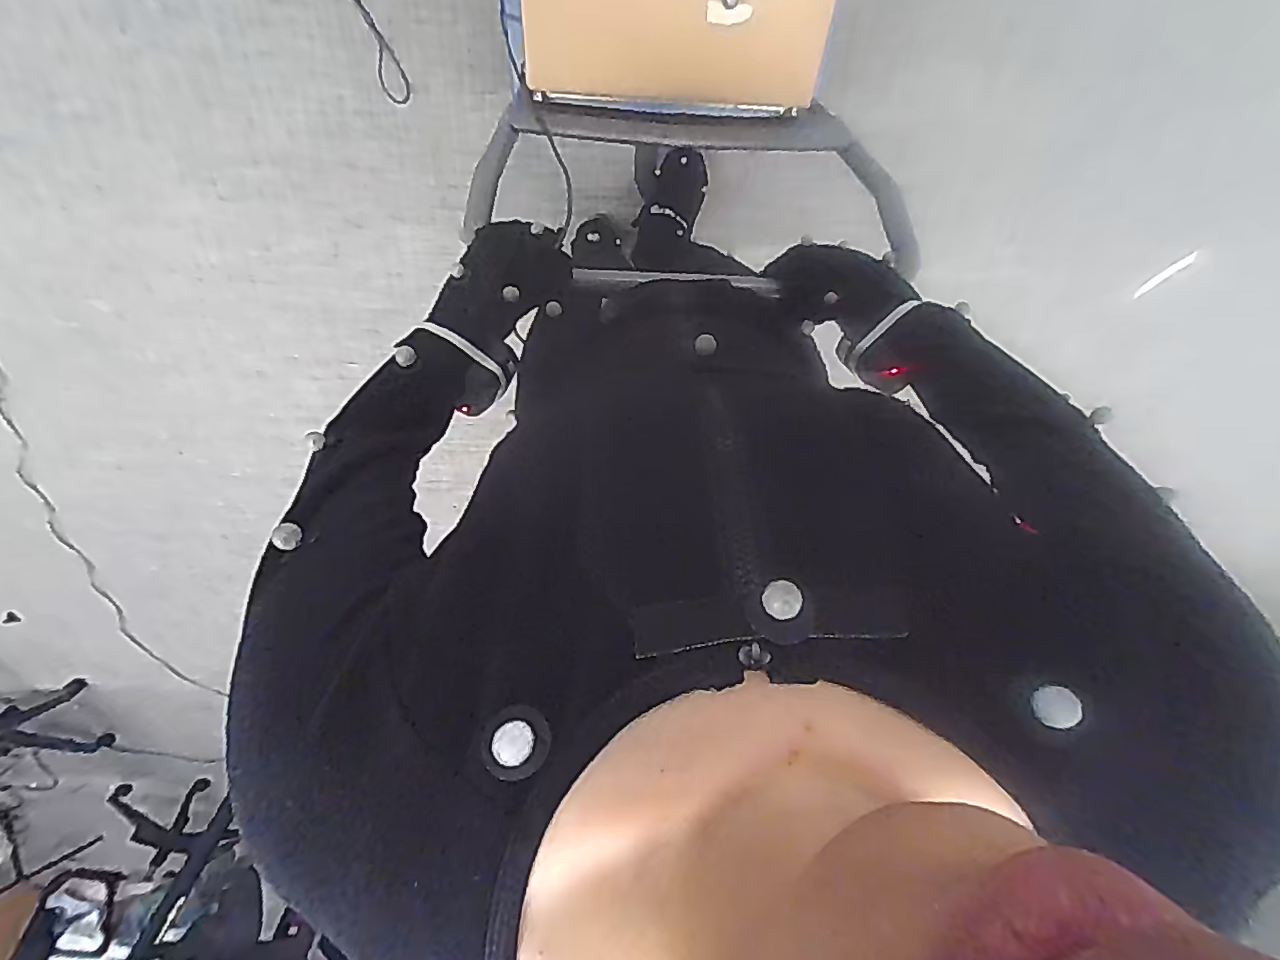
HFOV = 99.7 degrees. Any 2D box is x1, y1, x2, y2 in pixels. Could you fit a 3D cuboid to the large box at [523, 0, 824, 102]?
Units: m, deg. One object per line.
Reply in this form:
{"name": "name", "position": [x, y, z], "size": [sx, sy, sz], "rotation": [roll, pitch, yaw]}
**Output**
{"name": "large box", "position": [0.040, -0.766, 0.783], "size": [0.408, 0.320, 0.320], "rotation": [0, 134, -4]}
